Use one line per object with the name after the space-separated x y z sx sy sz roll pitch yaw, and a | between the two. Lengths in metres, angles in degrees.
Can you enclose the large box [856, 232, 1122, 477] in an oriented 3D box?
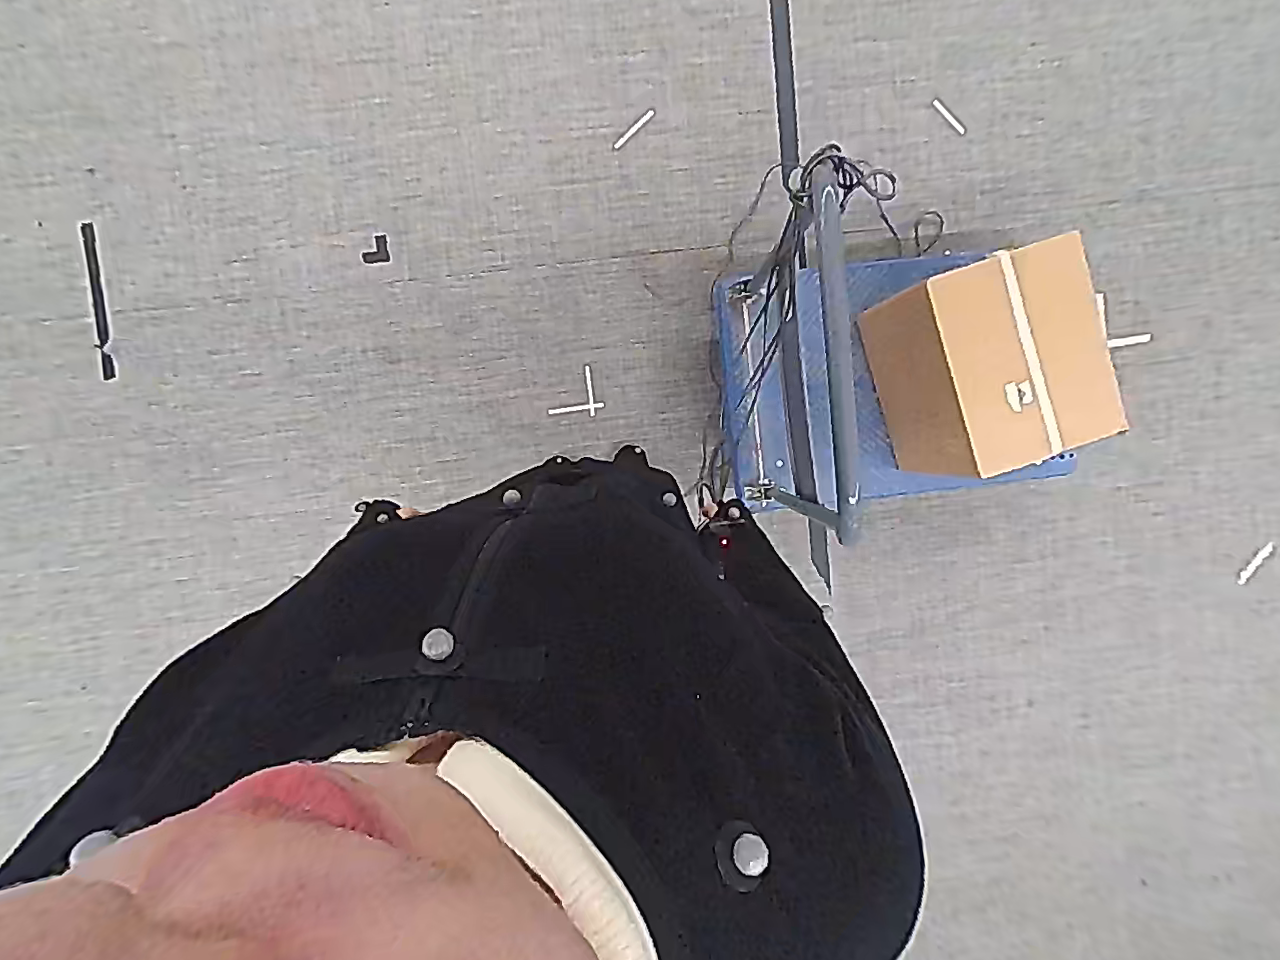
0.734 -0.252 1.188 0.320 0.320 0.408 -18 96 0 | large box
